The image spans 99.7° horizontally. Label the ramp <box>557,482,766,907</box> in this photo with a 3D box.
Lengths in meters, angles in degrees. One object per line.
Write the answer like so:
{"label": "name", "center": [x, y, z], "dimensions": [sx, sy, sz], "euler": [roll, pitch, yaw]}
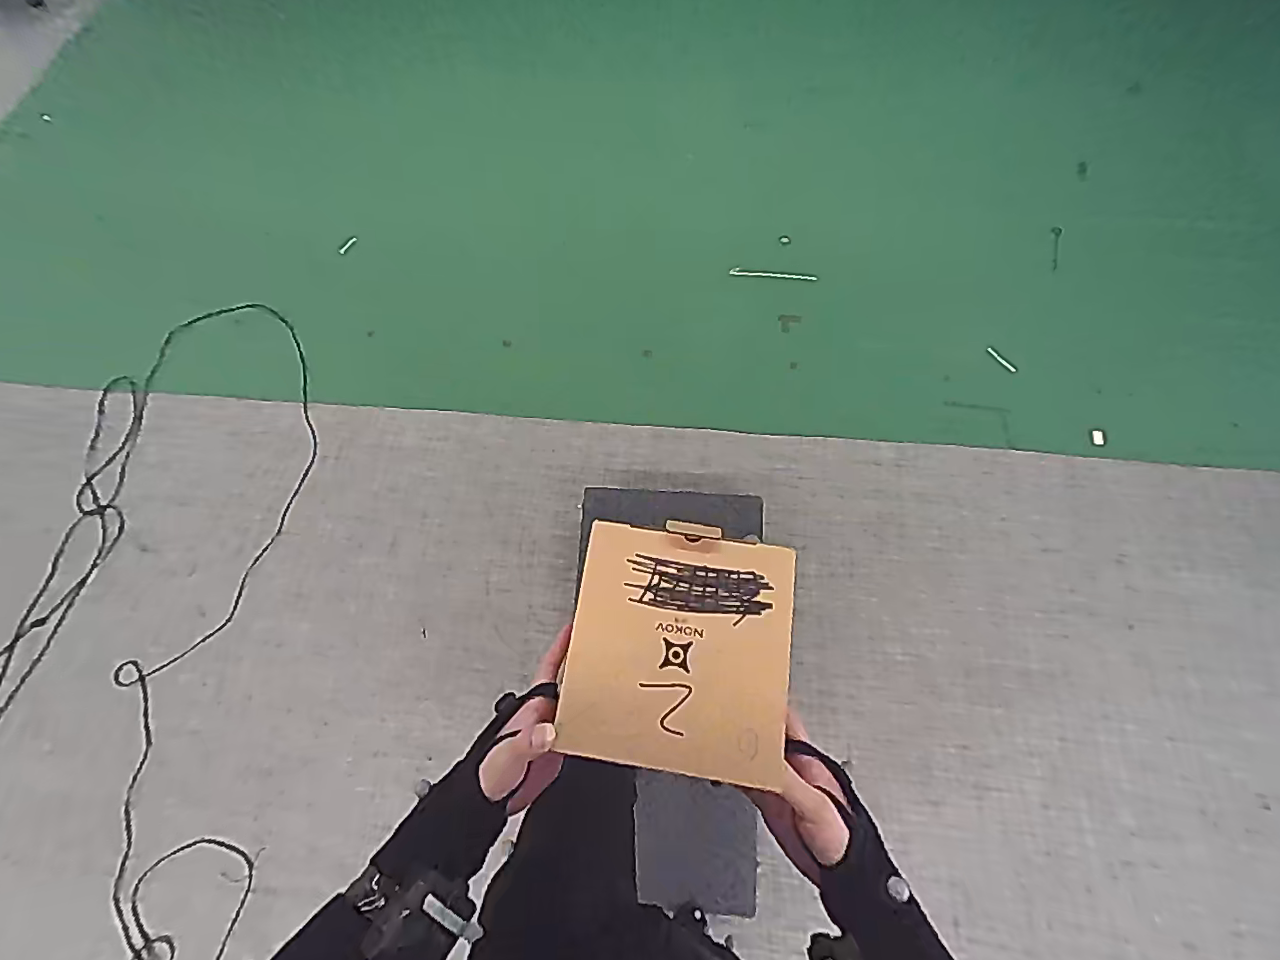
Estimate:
{"label": "ramp", "center": [0.071, 0.503, 1.371], "dimensions": [0.509, 0.206, 0.991], "euler": [2, 69, 1]}
